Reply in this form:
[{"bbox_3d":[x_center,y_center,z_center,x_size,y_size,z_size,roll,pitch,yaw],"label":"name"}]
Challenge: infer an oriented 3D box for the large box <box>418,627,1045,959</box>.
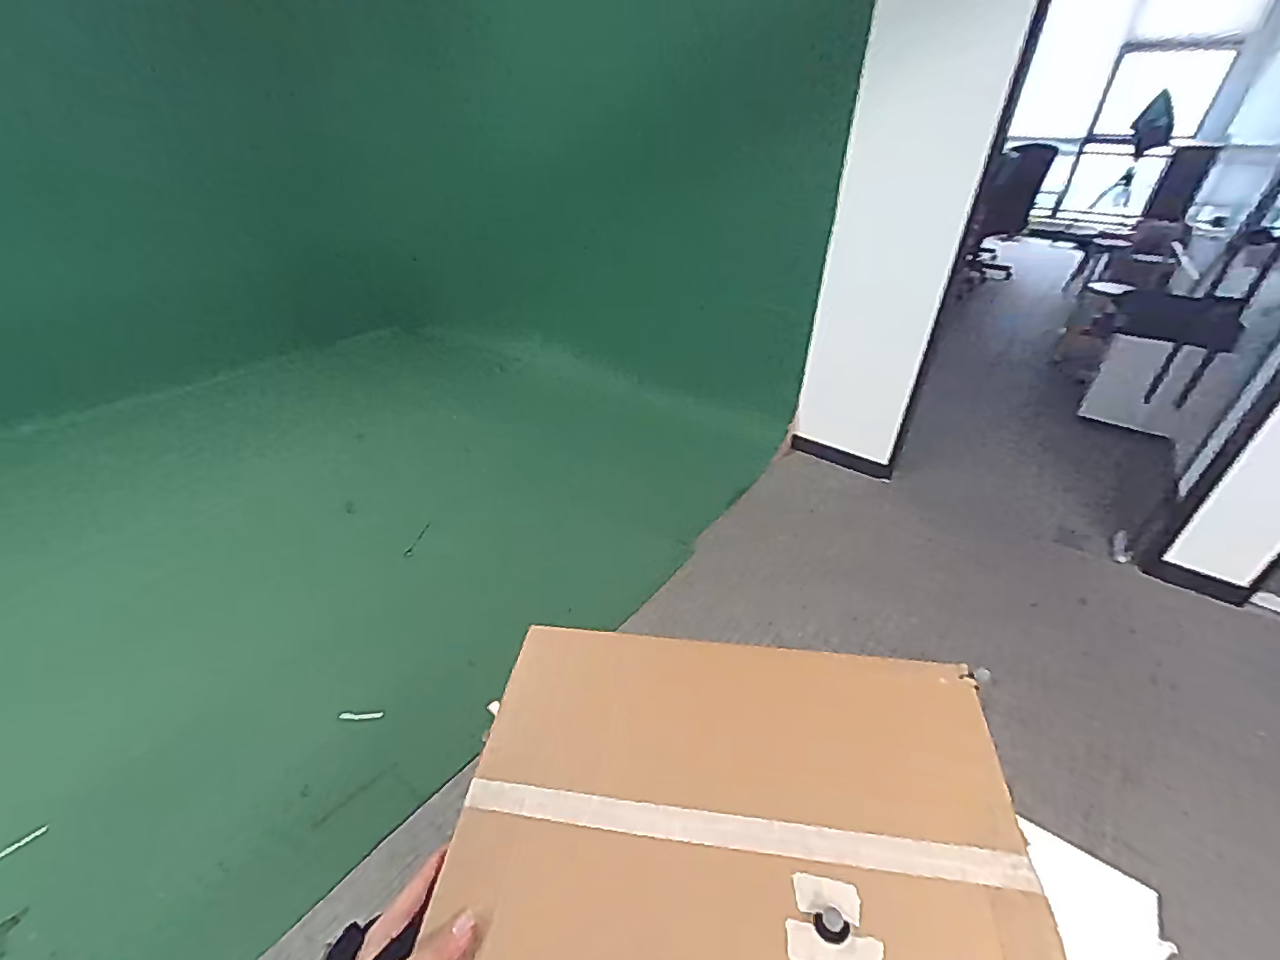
[{"bbox_3d":[0.072,0.366,0.501,0.408,0.320,0.320,3,42,9],"label":"large box"}]
